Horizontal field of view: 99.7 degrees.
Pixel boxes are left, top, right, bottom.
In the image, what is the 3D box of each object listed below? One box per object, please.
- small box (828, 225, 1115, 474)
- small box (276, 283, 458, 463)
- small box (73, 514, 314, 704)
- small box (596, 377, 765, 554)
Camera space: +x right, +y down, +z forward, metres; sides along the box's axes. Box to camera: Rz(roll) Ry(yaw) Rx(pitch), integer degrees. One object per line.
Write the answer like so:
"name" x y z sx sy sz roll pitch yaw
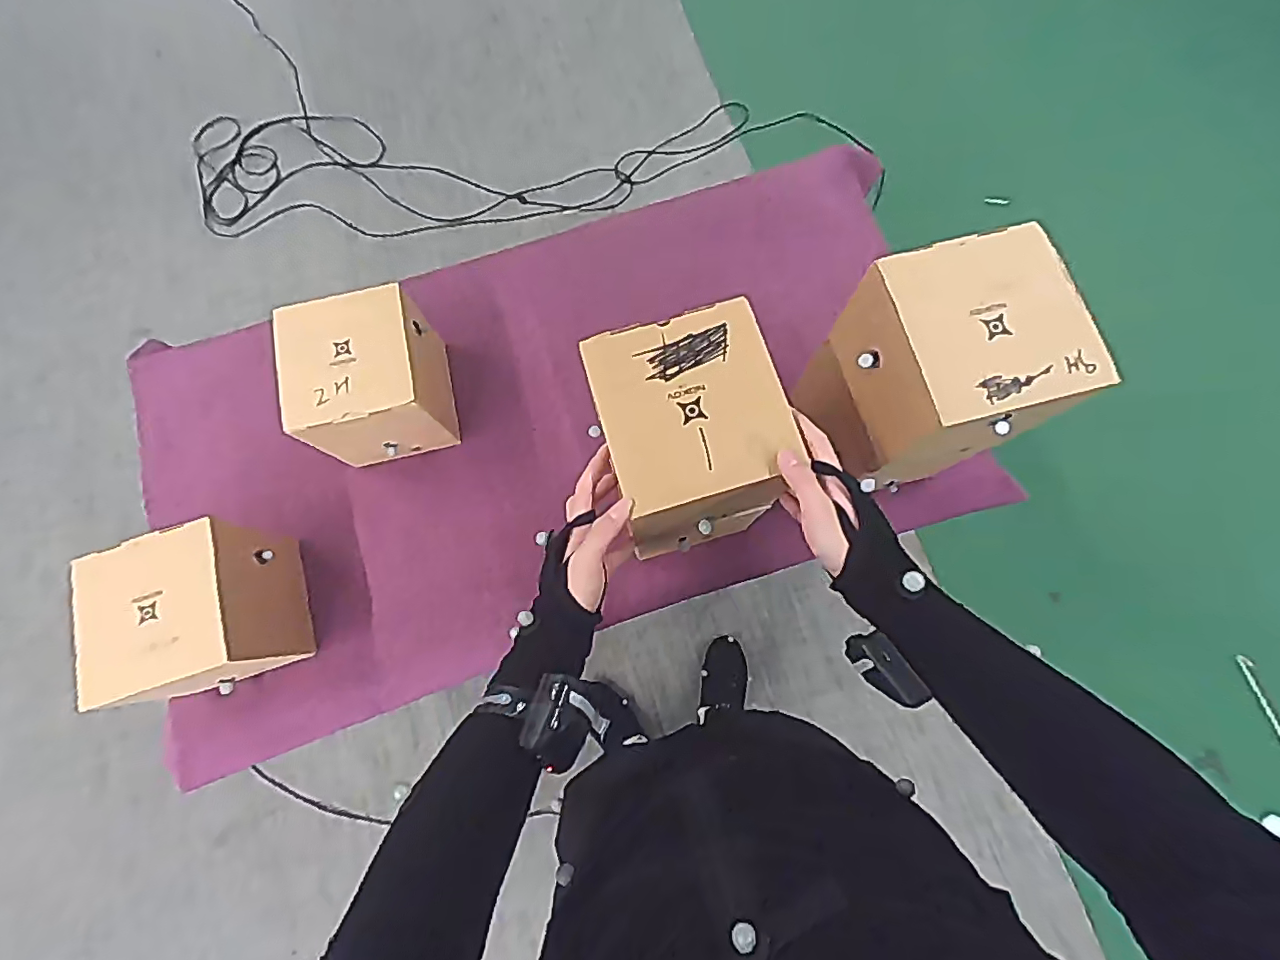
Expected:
"small box" 0.319 -0.124 0.567 0.168 0.176 0.179 -14 75 -1
"small box" -0.371 -0.140 0.758 0.168 0.176 0.179 -13 77 -2
"small box" -0.553 0.162 0.688 0.168 0.176 0.179 -18 76 -3
"small box" 0.050 -0.007 0.718 0.168 0.176 0.179 -16 75 -2
